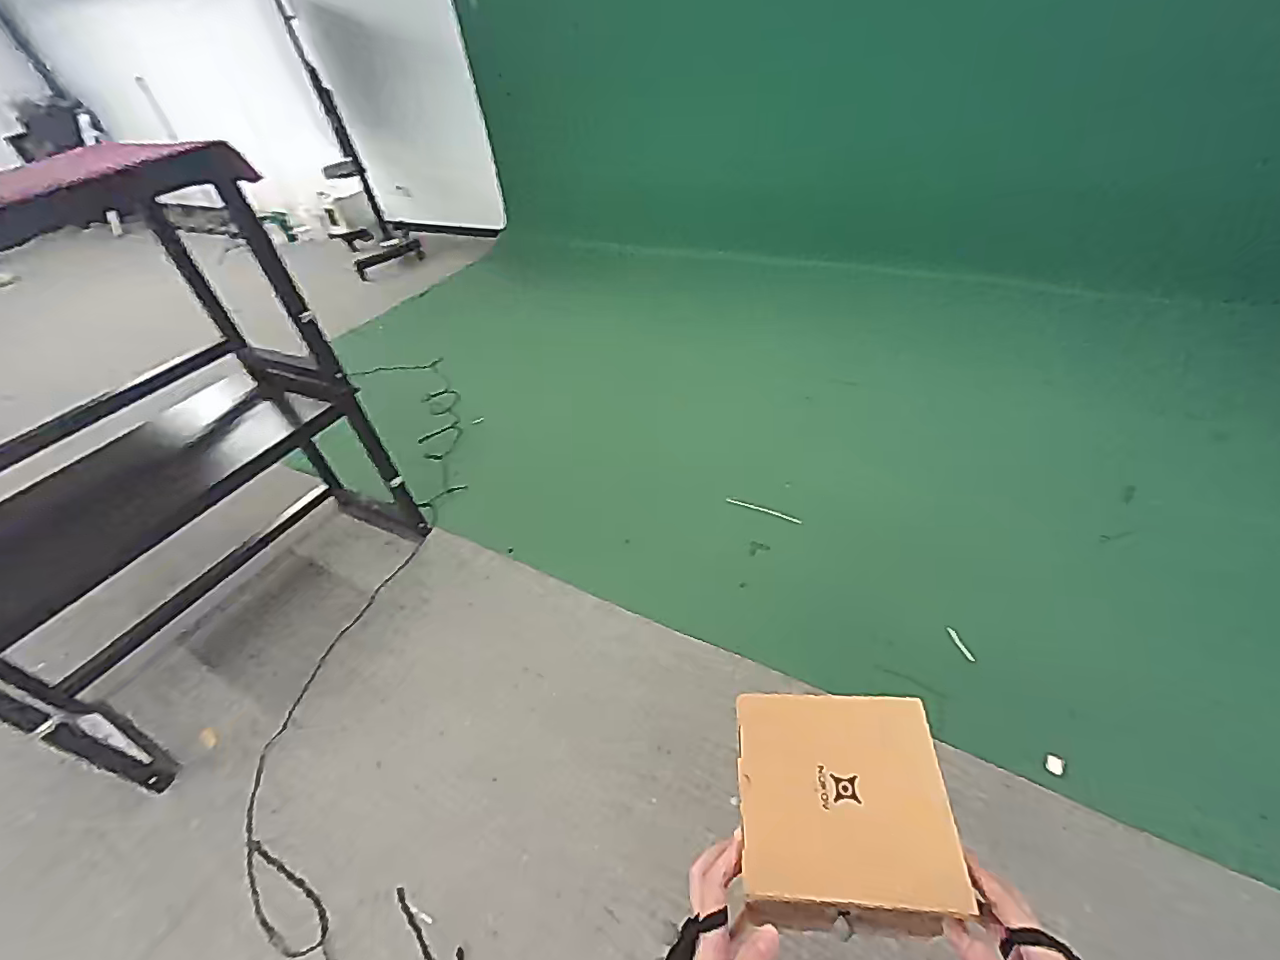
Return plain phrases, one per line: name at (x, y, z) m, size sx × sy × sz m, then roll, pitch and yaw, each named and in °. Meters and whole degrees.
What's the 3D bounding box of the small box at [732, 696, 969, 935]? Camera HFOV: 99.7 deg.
small box at (0.184, 0.328, 0.531) m, size 0.179 × 0.176 × 0.168 m, roll -4°, pitch 45°, yaw 11°
